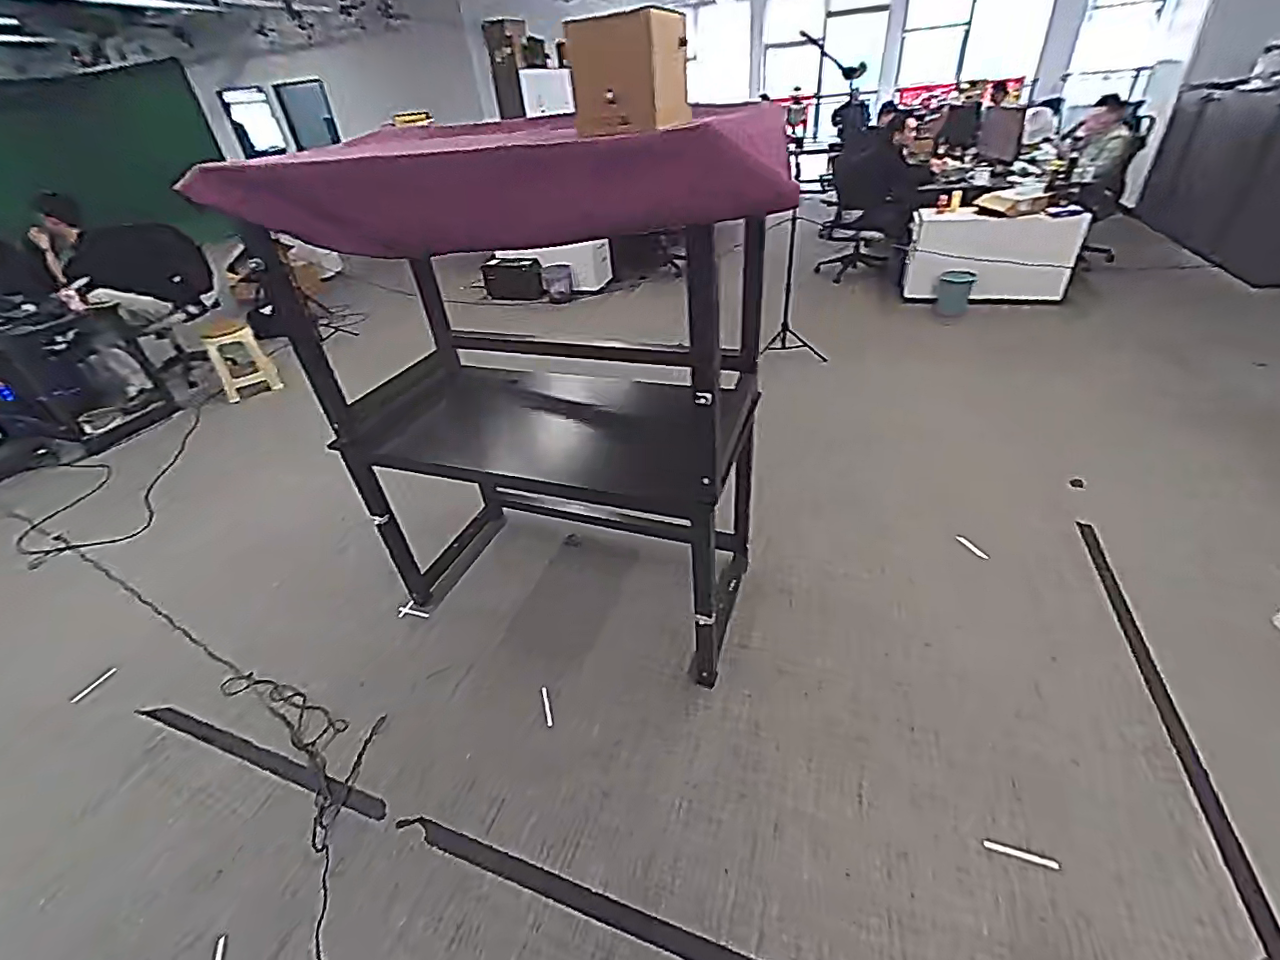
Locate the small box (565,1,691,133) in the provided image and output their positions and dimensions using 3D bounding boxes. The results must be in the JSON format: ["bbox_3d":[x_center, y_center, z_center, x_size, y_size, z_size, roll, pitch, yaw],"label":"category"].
[{"bbox_3d":[-0.013,-0.731,0.972,0.168,0.176,0.179,10,38,23],"label":"small box"}]
